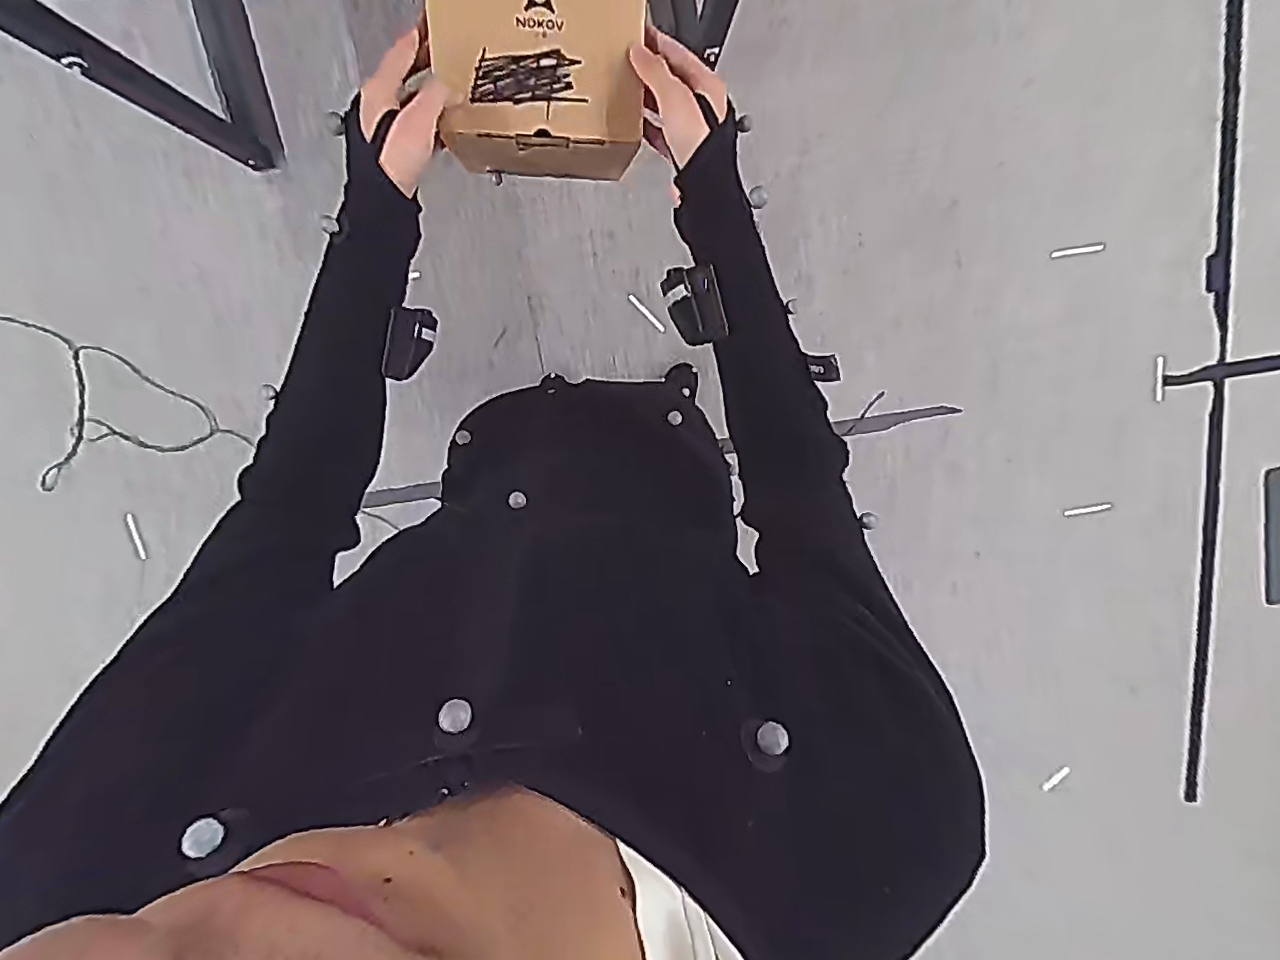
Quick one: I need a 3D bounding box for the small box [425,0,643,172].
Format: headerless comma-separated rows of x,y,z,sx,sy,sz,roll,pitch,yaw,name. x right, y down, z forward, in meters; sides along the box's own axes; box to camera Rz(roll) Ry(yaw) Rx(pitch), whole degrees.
-0.088,-0.387,0.480,0.168,0.176,0.179,-2,109,-8,small box
